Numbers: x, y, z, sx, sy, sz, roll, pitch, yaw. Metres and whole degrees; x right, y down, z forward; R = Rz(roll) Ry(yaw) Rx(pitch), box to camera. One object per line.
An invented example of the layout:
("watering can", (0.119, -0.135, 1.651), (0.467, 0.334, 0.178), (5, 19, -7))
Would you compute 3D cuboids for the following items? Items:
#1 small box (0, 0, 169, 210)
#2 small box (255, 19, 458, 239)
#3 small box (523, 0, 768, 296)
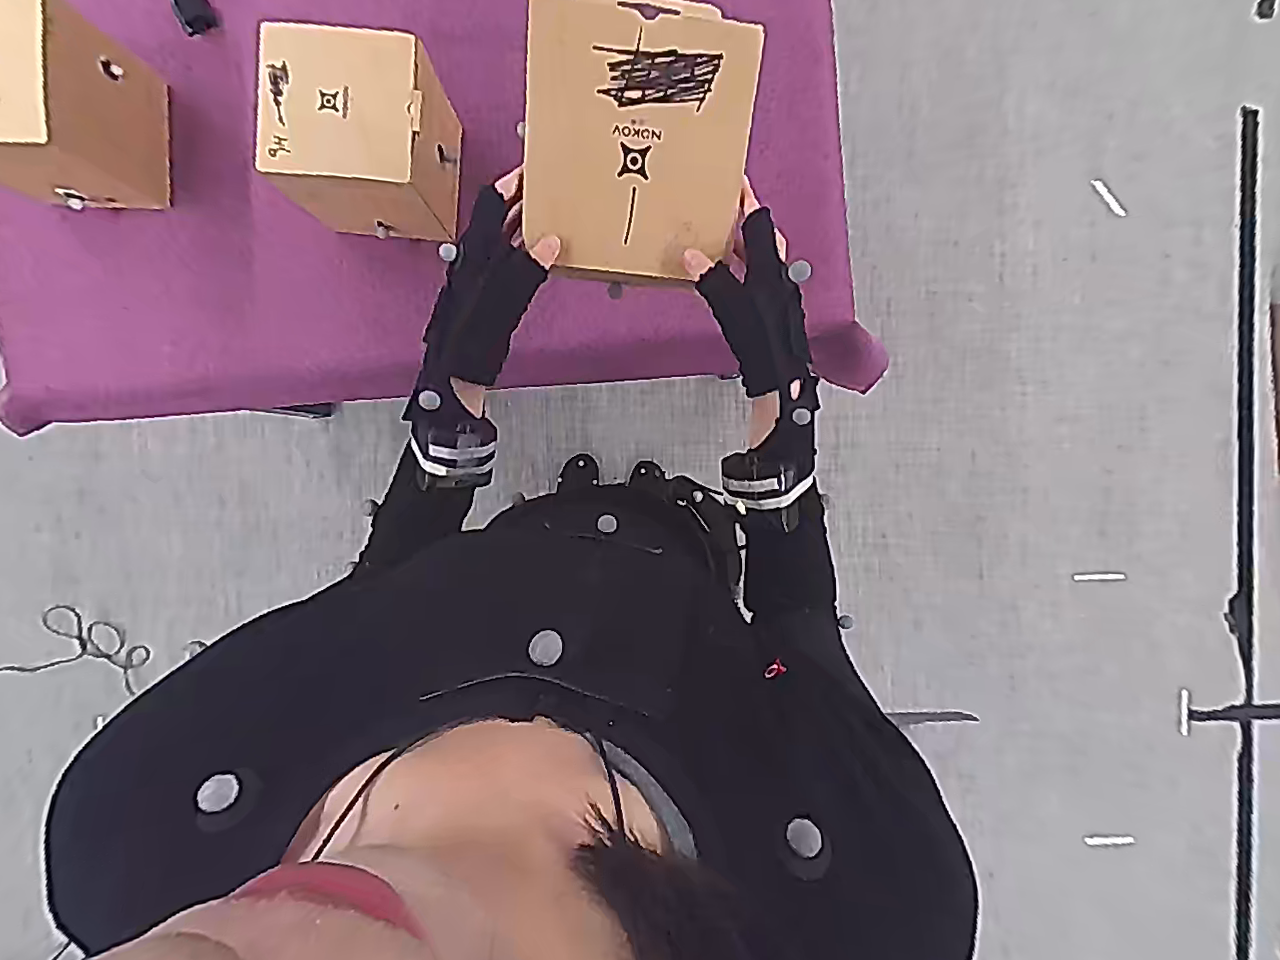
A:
("small box", (-0.730, -0.460, 0.665), (0.168, 0.176, 0.179), (0, 93, -1))
("small box", (-0.340, -0.422, 0.682), (0.179, 0.176, 0.168), (4, 92, -3))
("small box", (-0.004, -0.263, 0.470), (0.168, 0.176, 0.179), (5, 106, -4))
